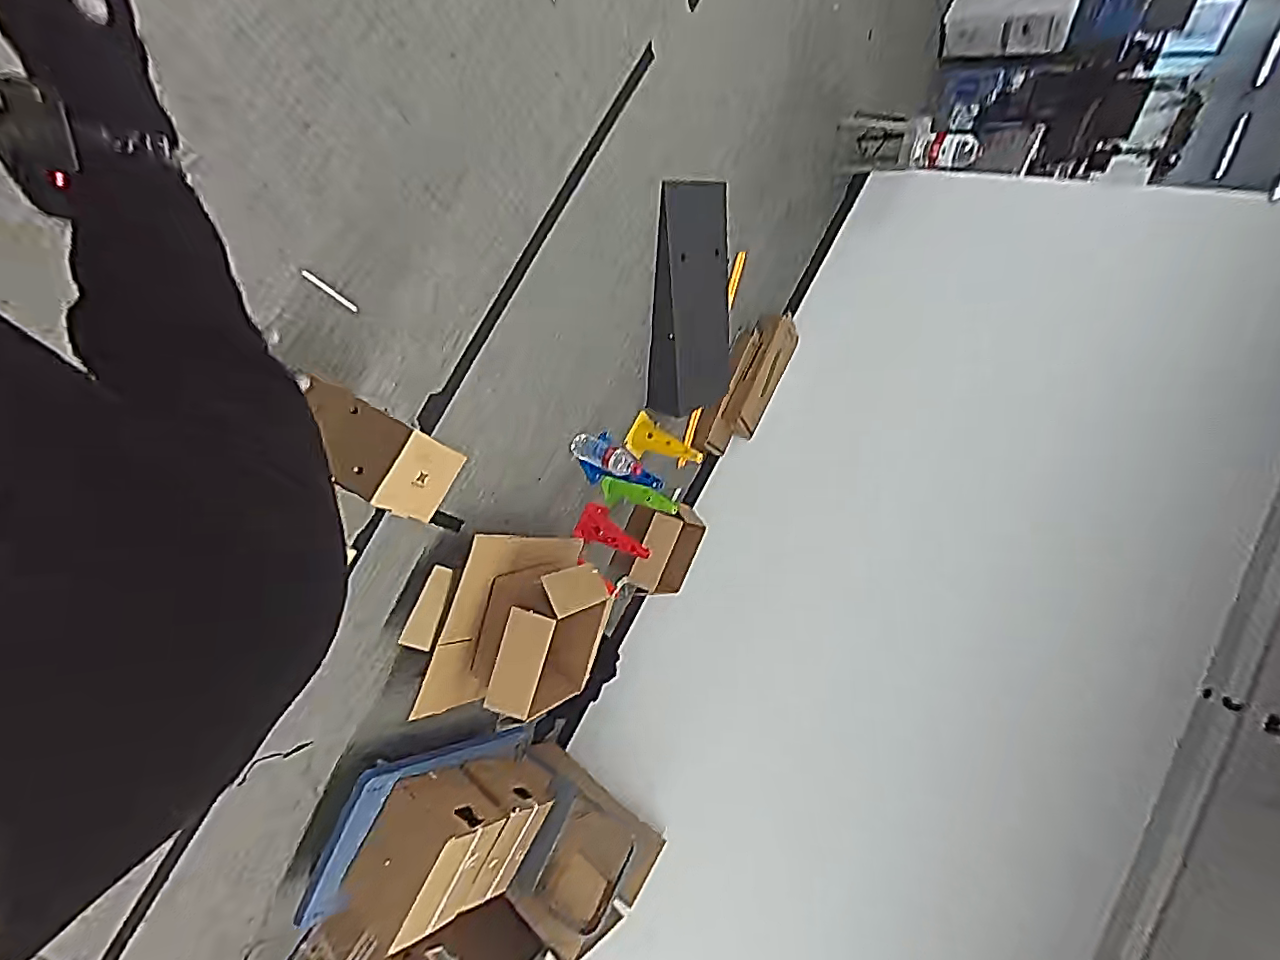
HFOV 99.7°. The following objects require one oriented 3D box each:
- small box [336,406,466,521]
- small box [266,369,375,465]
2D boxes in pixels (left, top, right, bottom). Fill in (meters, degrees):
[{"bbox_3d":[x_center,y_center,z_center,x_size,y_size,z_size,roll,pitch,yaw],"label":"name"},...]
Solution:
[{"bbox_3d":[-0.531,-0.037,1.193,0.179,0.176,0.168,-62,152,-6],"label":"small box"},{"bbox_3d":[-0.789,-0.155,1.357,0.179,0.176,0.168,-60,150,-7],"label":"small box"}]
